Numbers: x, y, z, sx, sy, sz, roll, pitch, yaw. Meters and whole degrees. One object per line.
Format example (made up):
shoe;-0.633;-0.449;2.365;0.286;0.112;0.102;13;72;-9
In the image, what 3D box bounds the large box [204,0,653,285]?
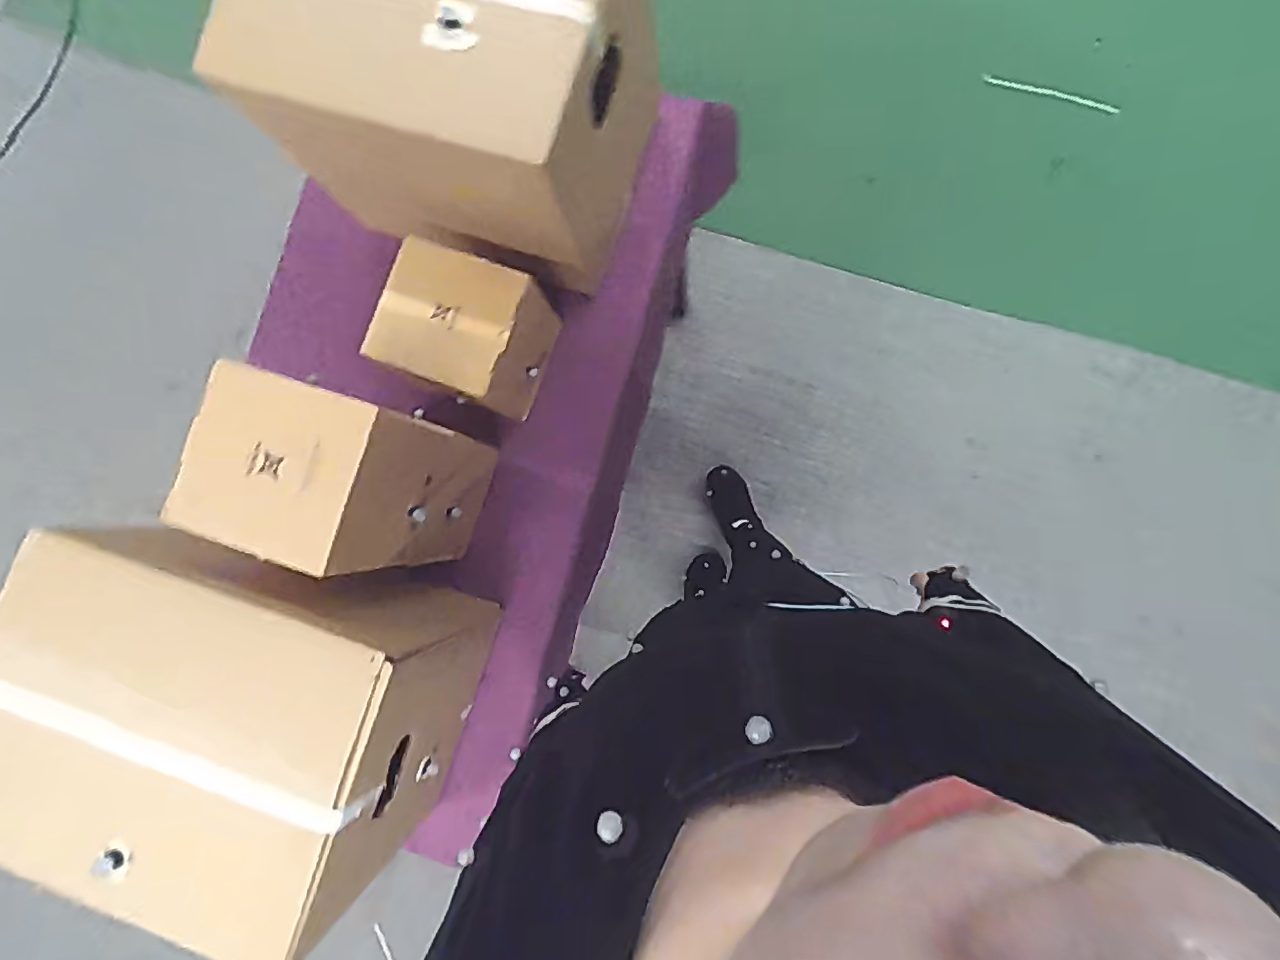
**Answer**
large box;-0.220;-0.510;0.711;0.408;0.320;0.320;18;87;5
